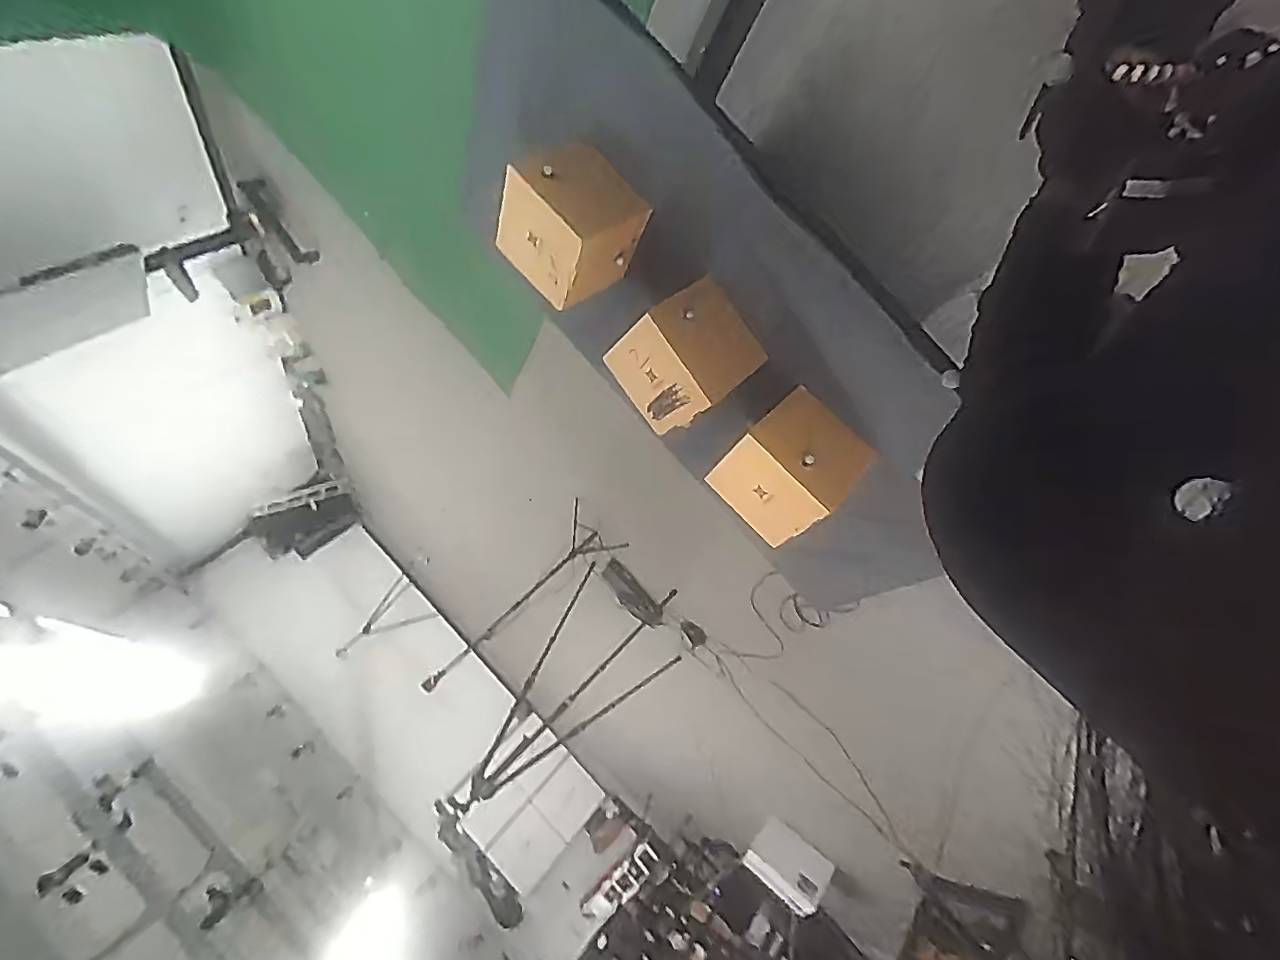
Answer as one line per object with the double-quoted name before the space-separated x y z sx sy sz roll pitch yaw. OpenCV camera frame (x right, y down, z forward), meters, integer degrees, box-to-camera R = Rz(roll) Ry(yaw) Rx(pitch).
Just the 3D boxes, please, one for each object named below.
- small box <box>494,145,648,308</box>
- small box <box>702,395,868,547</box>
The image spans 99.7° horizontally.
"small box" -0.119 -0.437 0.924 0.179 0.176 0.168 47 148 3
"small box" 0.246 -0.022 0.922 0.179 0.176 0.168 45 147 5
